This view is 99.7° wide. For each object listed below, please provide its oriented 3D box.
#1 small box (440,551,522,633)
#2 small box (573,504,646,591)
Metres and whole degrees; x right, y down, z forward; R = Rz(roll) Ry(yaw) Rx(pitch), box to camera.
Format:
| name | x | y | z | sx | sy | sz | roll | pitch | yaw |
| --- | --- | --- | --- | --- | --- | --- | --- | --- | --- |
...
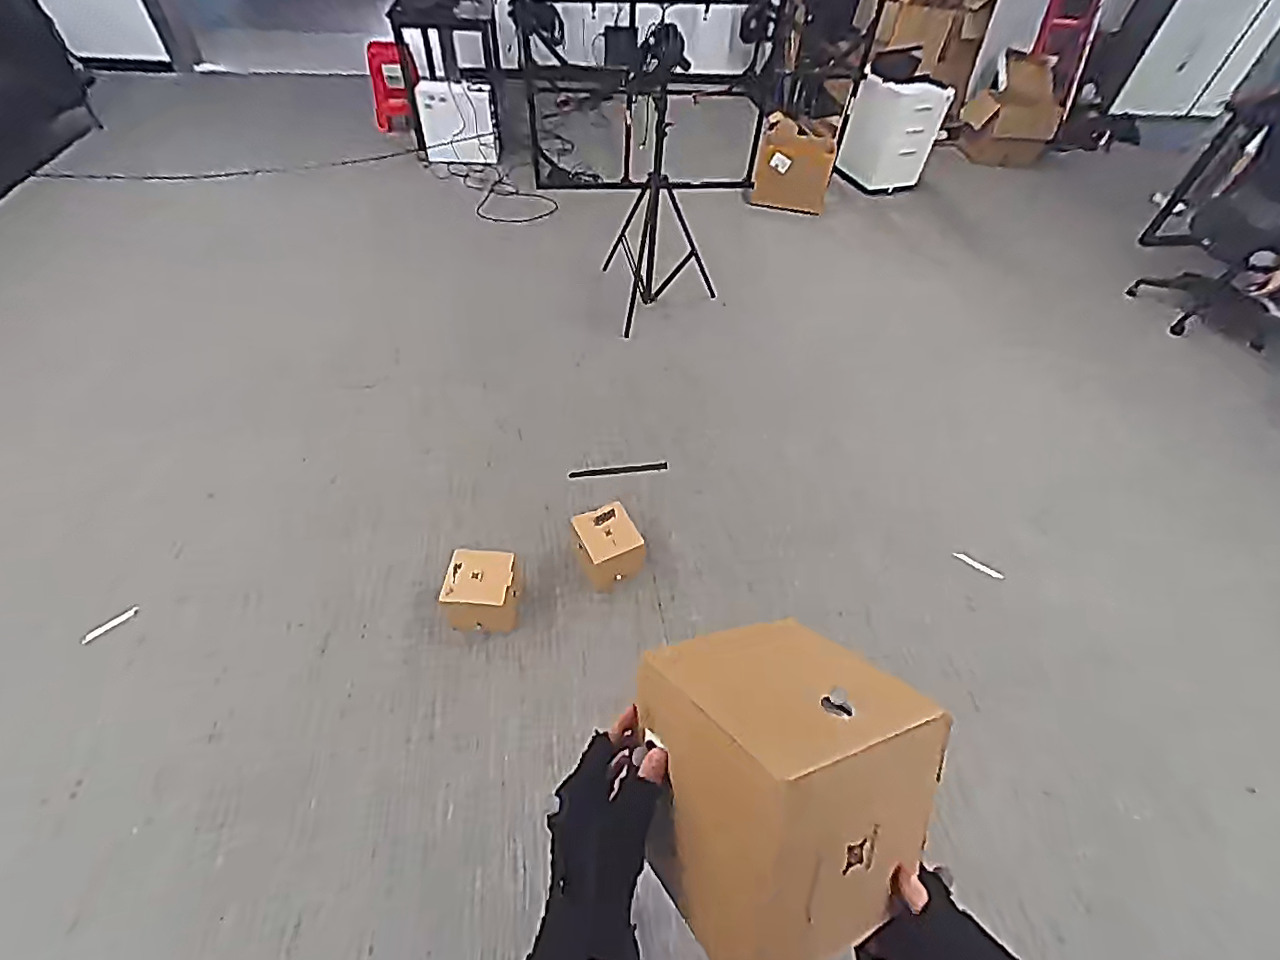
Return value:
| name | x | y | z | sx | sy | sz | roll | pitch | yaw |
| --- | --- | --- | --- | --- | --- | --- | --- | --- | --- |
| small box | -0.441 | 0.322 | 1.538 | 0.179 | 0.176 | 0.168 | 5 | 49 | 0 |
| small box | -0.097 | 0.208 | 1.657 | 0.168 | 0.176 | 0.179 | -21 | 55 | -20 |
